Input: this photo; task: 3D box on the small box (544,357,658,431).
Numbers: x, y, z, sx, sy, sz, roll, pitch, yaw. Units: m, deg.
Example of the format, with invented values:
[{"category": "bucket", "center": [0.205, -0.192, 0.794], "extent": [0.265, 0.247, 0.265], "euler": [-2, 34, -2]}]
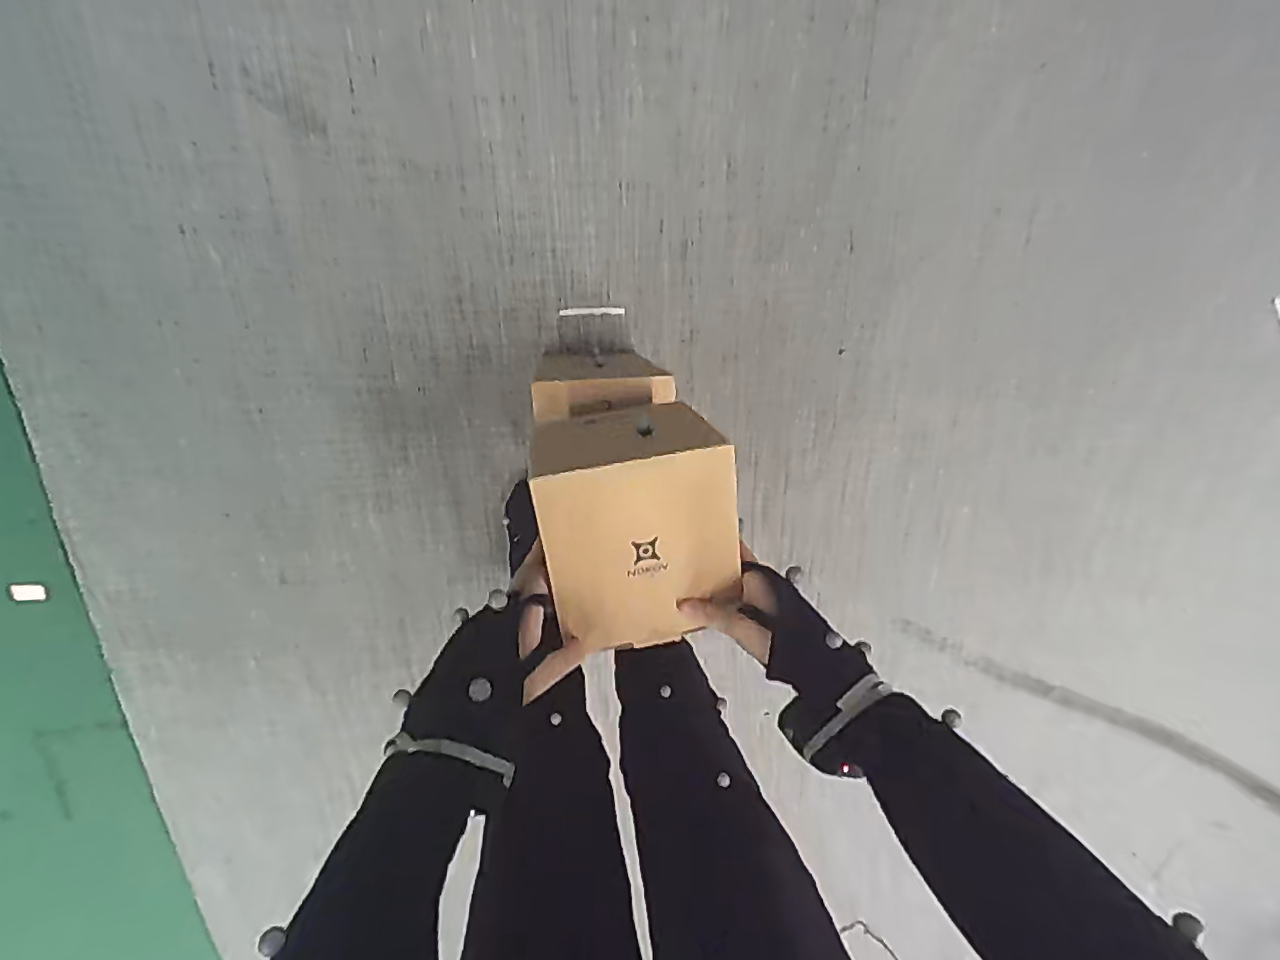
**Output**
[{"category": "small box", "center": [-0.067, -0.101, 0.857], "extent": [0.168, 0.176, 0.179], "euler": [-3, 109, -7]}]

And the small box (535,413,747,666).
[{"category": "small box", "center": [-0.006, 0.042, 0.522], "extent": [0.168, 0.176, 0.179], "euler": [-10, 114, -7]}]
